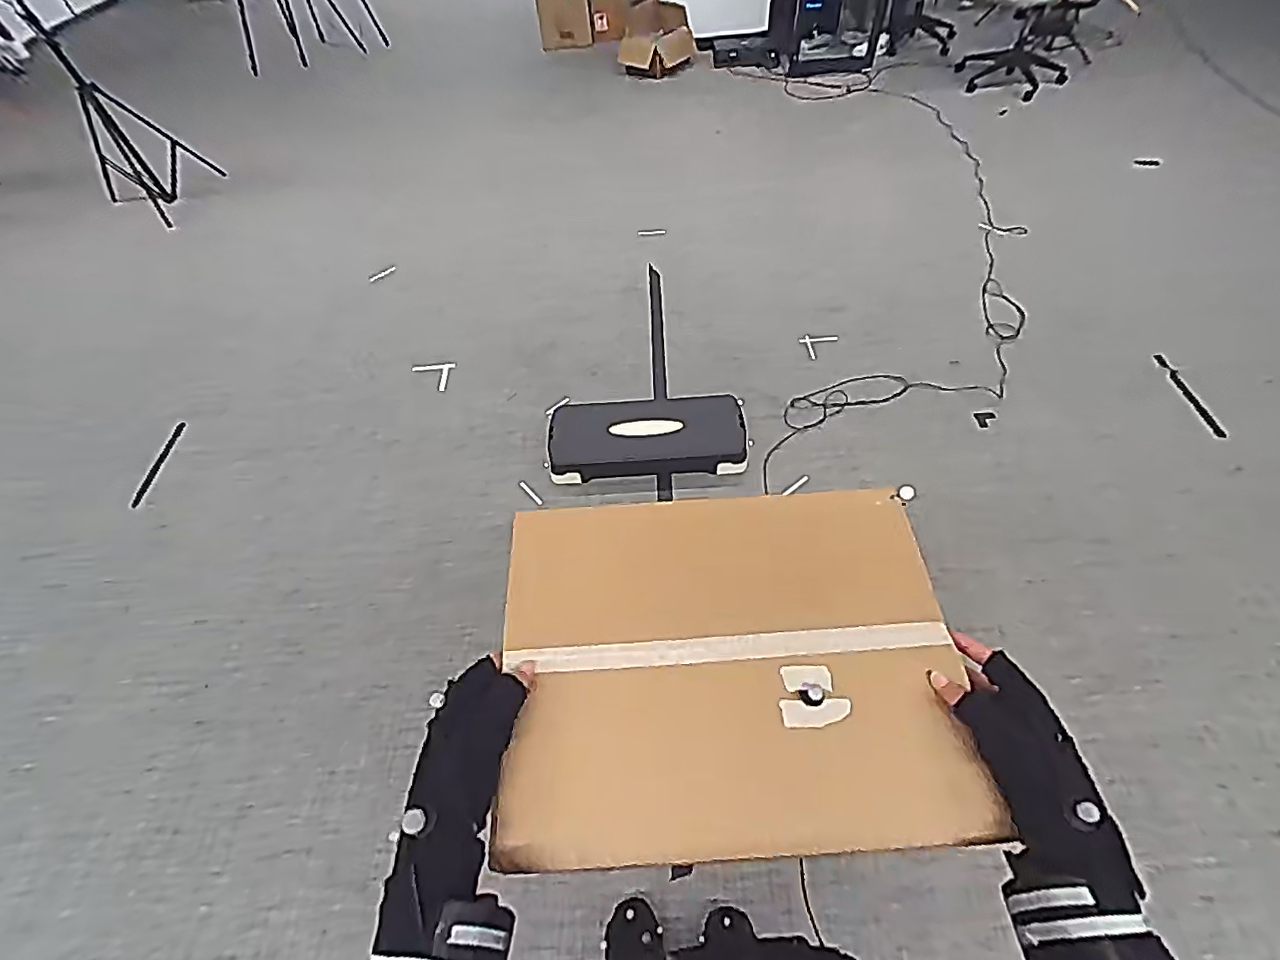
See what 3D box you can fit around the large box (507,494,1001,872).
[{"bbox_3d":[0.083,0.238,0.629,0.408,0.320,0.320,-4,59,-1],"label":"large box"}]
